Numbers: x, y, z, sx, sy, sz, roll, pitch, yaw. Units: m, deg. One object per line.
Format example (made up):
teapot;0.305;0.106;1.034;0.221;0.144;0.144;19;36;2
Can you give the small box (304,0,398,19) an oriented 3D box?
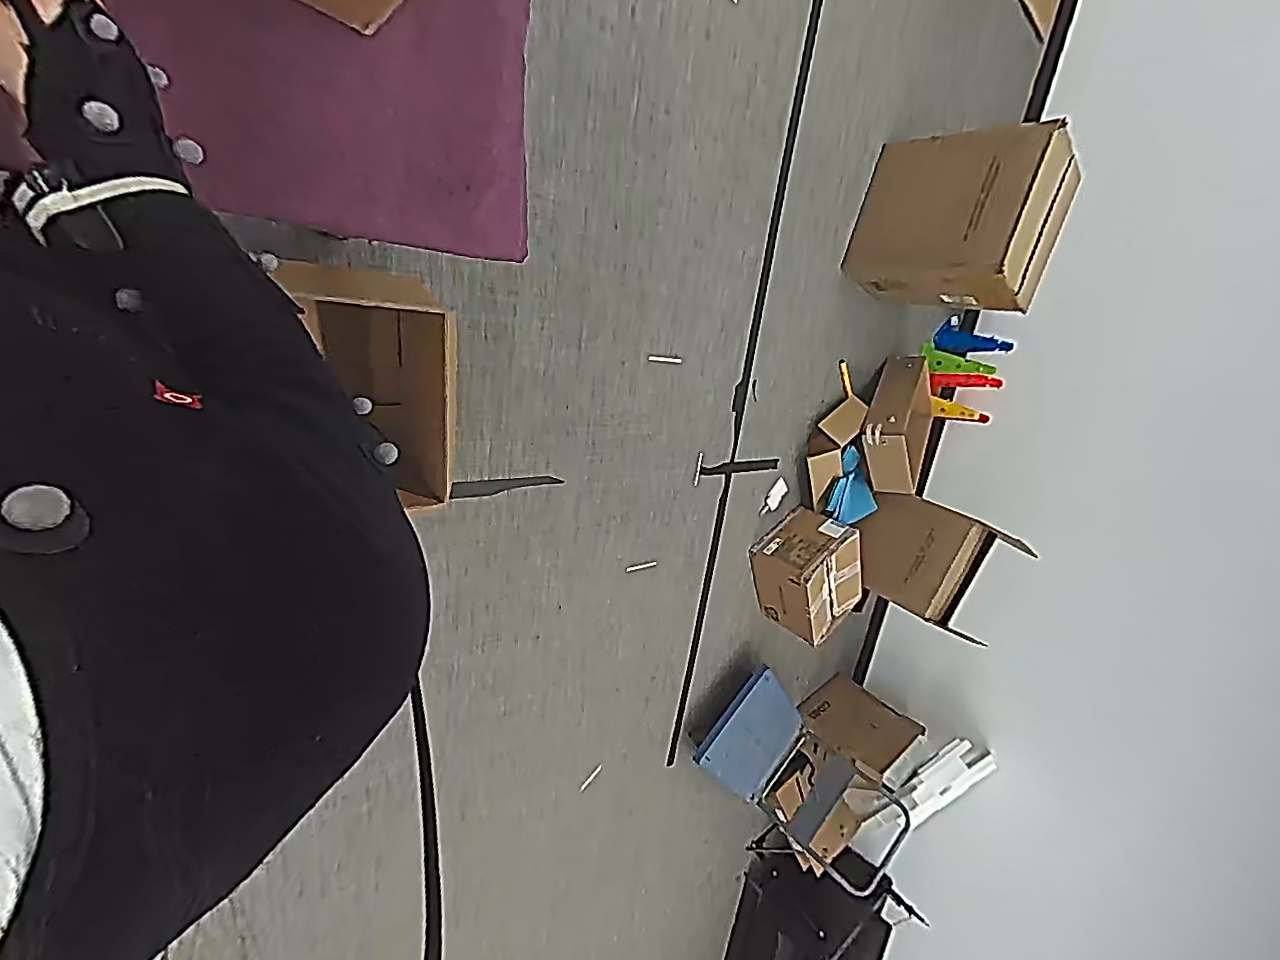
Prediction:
small box;-0.249;-0.473;0.380;0.179;0.176;0.168;1;107;-42
